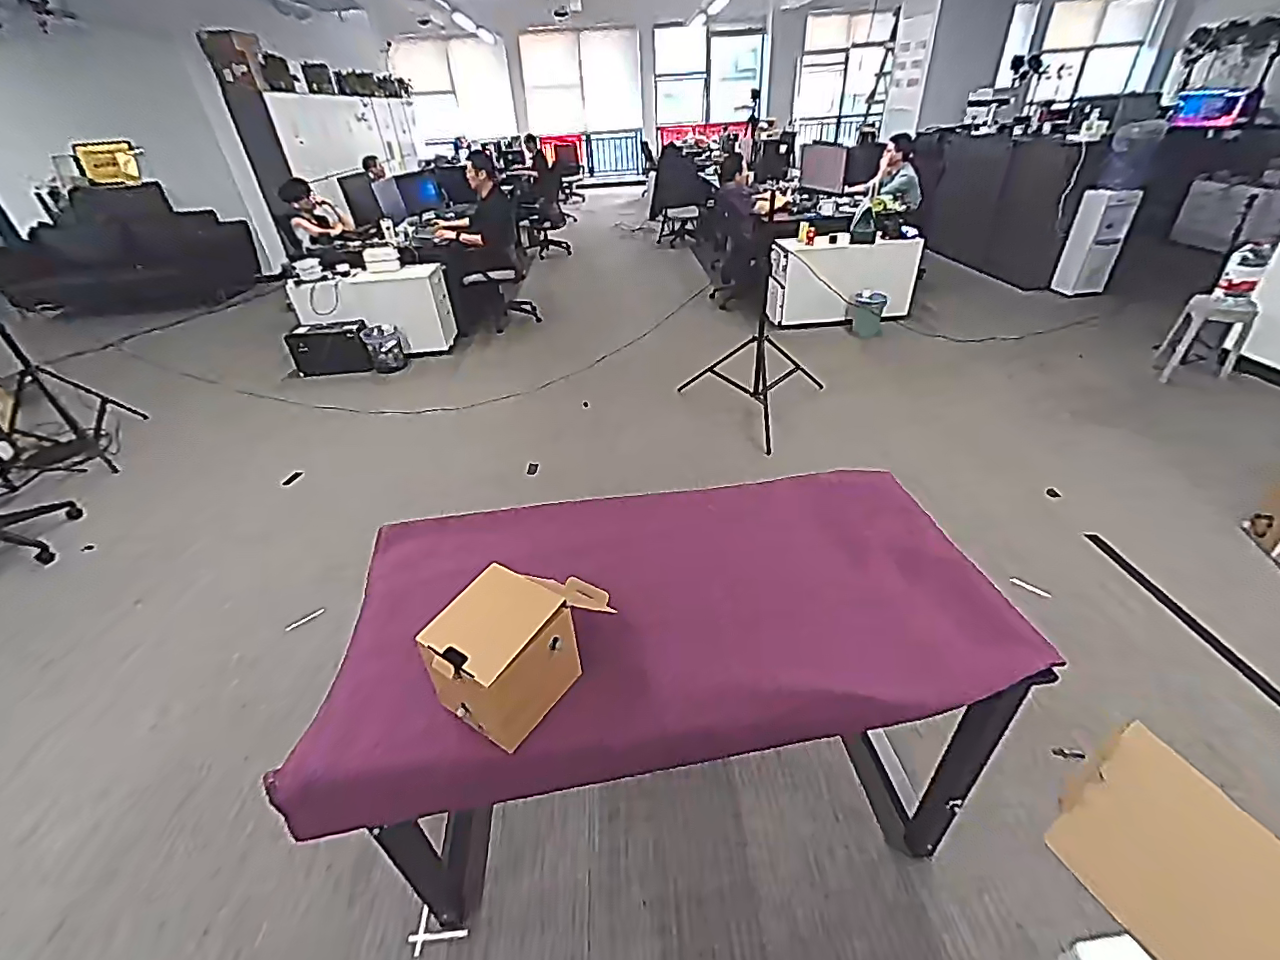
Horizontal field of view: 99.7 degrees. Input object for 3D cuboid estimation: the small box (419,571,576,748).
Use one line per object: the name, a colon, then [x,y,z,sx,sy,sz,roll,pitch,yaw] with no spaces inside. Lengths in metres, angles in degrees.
small box: [-0.220,0.287,0.882,0.168,0.176,0.179,18,39,30]
